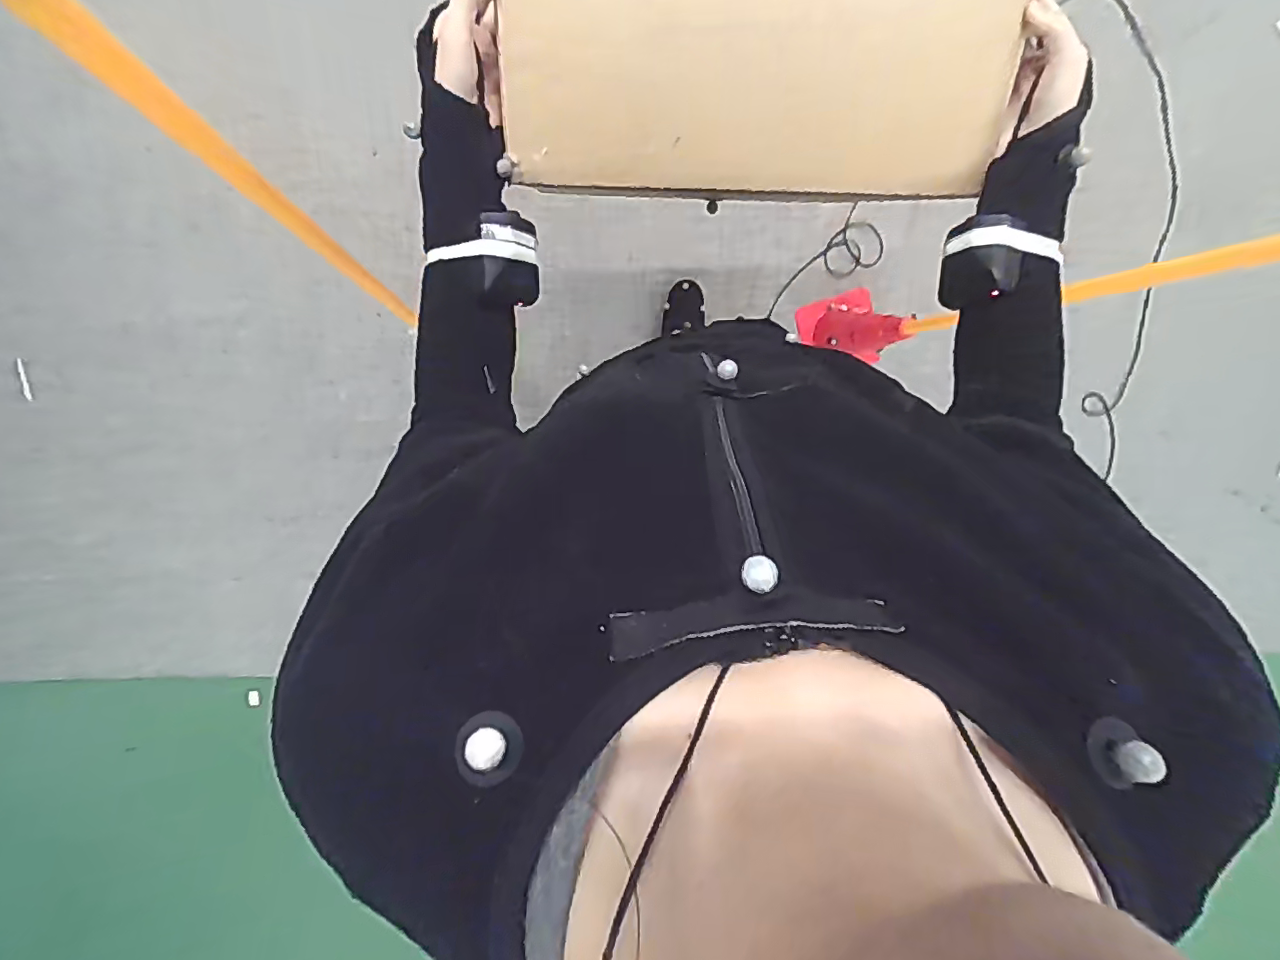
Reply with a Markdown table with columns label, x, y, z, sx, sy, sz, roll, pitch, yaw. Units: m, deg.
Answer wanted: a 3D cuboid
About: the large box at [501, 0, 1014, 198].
| label | x | y | z | sx | sy | sz | roll | pitch | yaw |
| --- | --- | --- | --- | --- | --- | --- | --- | --- | --- |
| large box | 0.086 | -0.453 | 0.530 | 0.408 | 0.320 | 0.320 | -1 | 116 | -4 |
